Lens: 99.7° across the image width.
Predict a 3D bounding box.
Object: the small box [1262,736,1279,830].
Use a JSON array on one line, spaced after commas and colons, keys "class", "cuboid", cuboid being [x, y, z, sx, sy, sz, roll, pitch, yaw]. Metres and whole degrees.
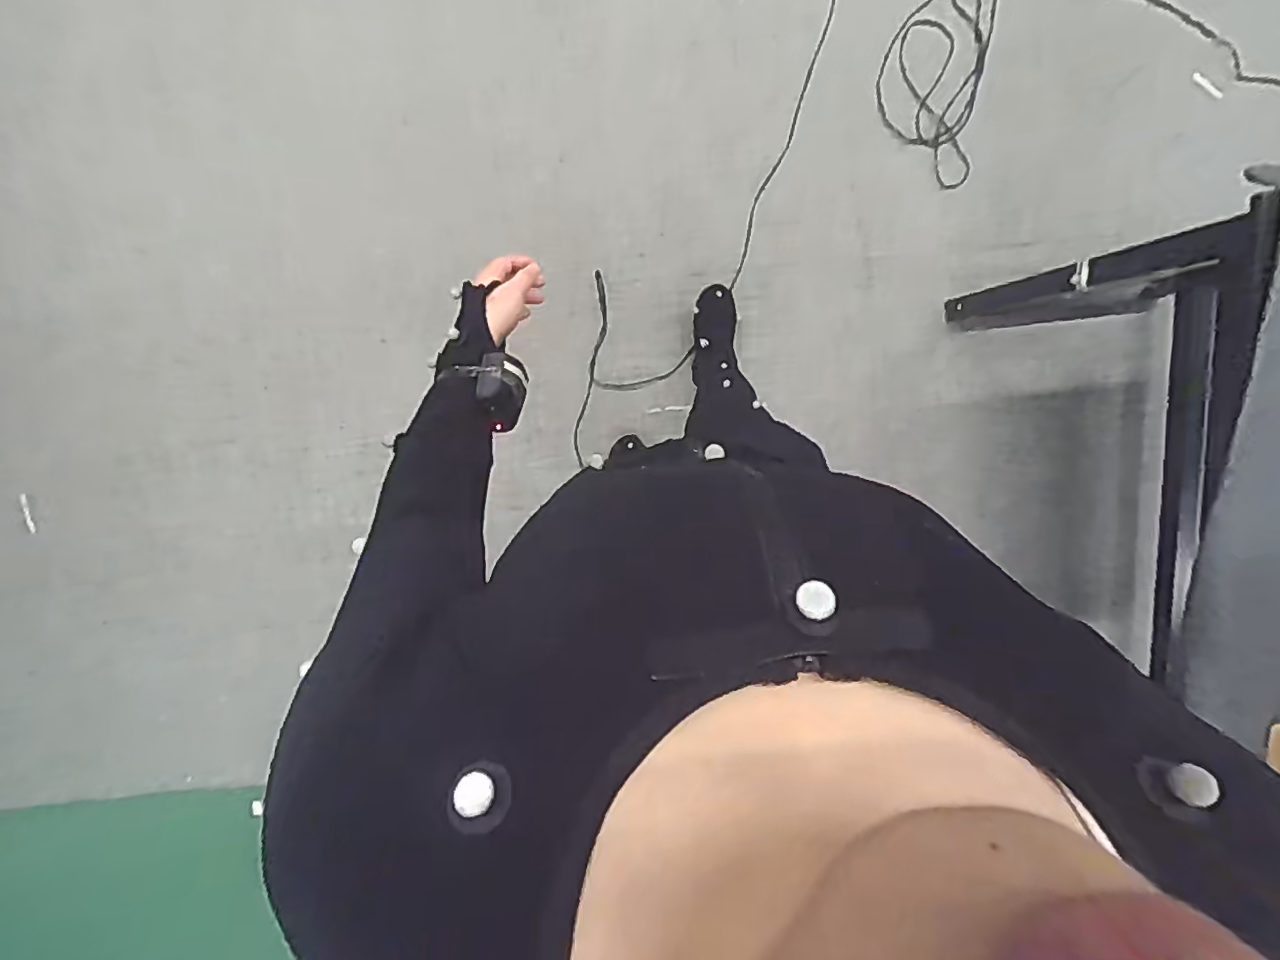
[{"class": "small box", "cuboid": [1.039, 0.453, 0.748, 0.179, 0.176, 0.168, -6, 99, -2]}]
